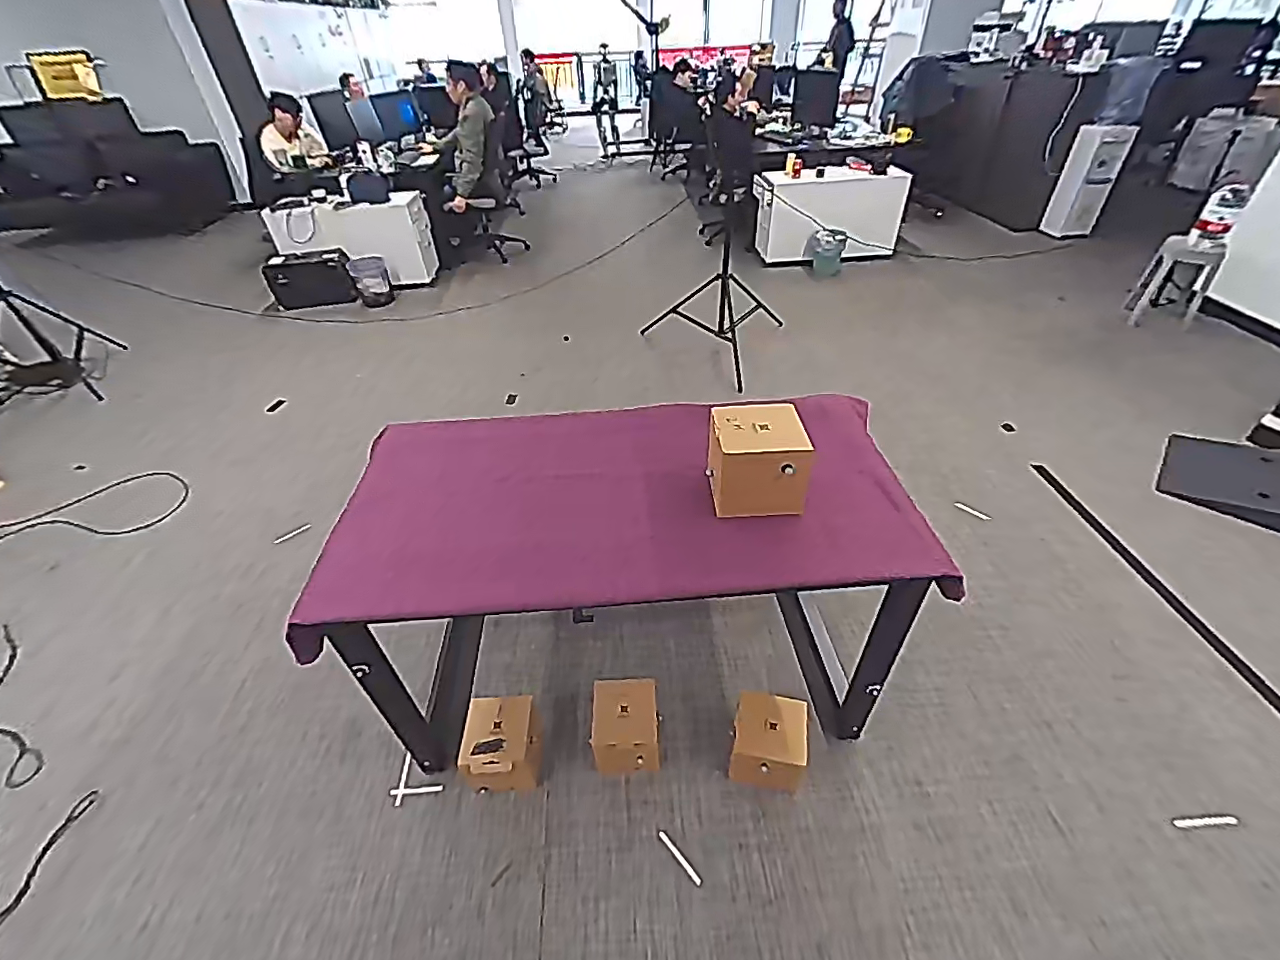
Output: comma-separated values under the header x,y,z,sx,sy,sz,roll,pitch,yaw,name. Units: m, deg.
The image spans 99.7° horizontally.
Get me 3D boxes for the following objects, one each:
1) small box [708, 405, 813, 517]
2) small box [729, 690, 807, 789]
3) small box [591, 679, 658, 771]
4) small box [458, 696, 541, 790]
x,y,z,sx,sy,sz,roll,pitch,yaw,name
0.241,-0.038,1.126,0.179,0.176,0.168,-3,39,0,small box
0.332,0.678,1.406,0.179,0.176,0.168,6,42,12,small box
-0.039,0.661,1.449,0.168,0.176,0.179,-2,39,-1,small box
-0.360,0.696,1.422,0.168,0.176,0.179,-3,39,-1,small box
